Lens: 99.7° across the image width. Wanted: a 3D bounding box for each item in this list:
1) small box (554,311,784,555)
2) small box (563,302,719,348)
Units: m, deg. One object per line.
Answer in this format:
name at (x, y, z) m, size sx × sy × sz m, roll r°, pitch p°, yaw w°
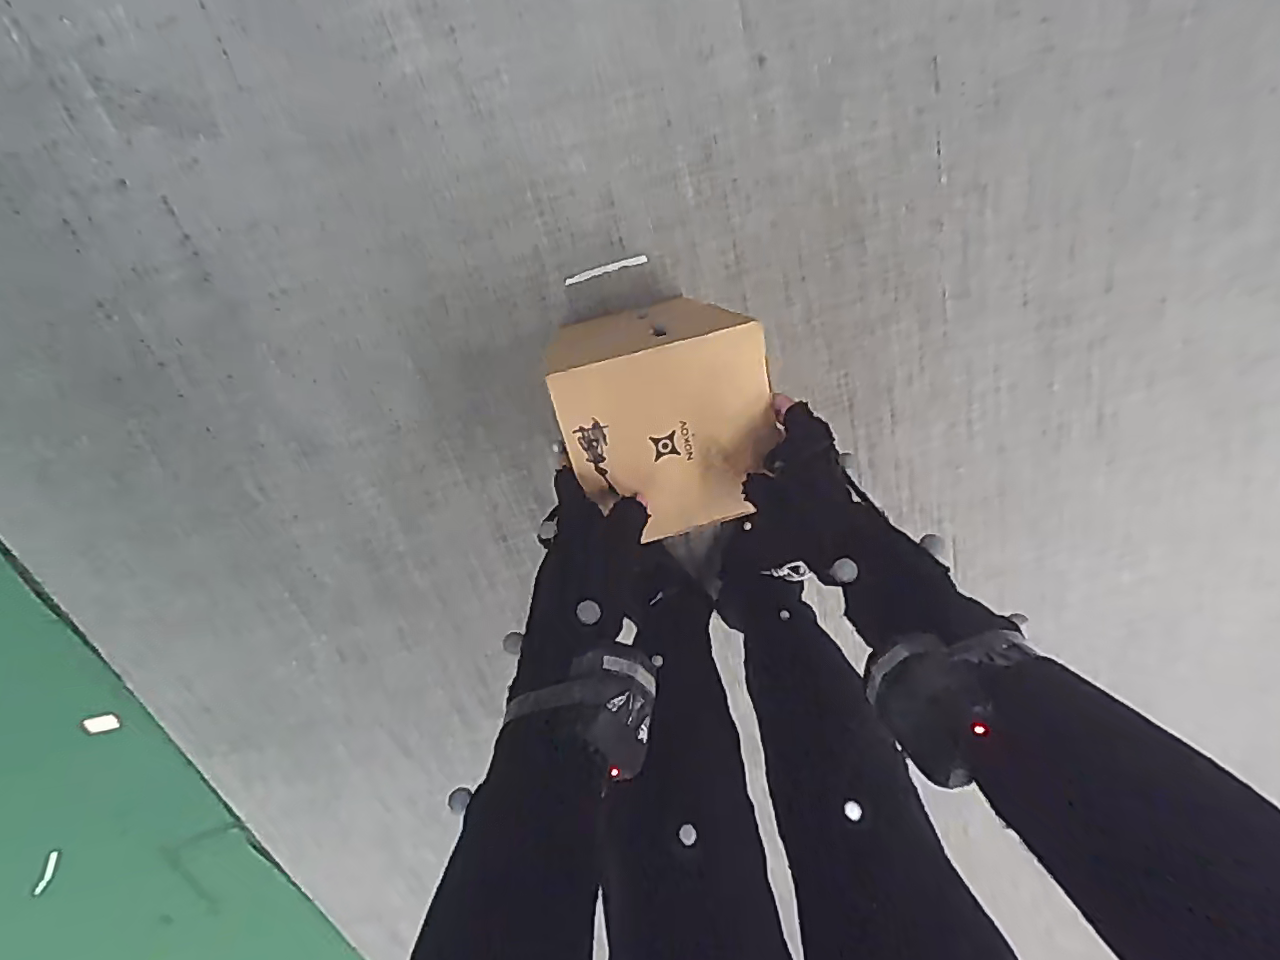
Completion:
small box at (0.020, -0.057, 0.524) m, size 0.179 × 0.176 × 0.168 m, roll -14°, pitch 115°, yaw -2°
small box at (0.009, -0.115, 0.678) m, size 0.179 × 0.176 × 0.168 m, roll -17°, pitch 114°, yaw -1°
